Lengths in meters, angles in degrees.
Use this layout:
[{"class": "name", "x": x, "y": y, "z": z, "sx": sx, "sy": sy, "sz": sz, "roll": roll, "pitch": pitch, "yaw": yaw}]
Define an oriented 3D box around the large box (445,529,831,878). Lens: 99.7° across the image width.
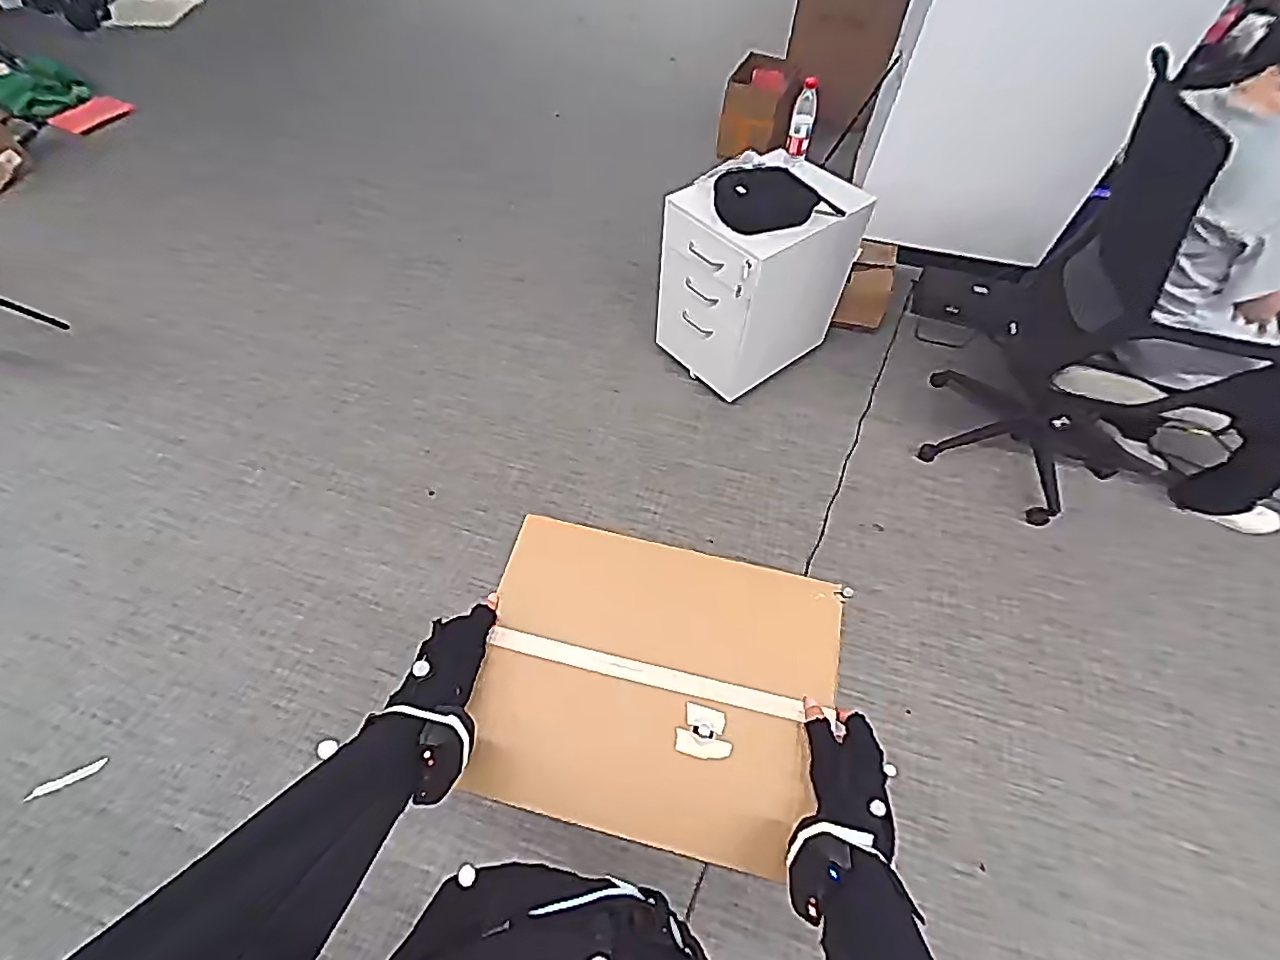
[{"class": "large box", "x": 0.010, "y": 0.303, "z": 0.755, "sx": 0.408, "sy": 0.320, "sz": 0.320, "roll": 12, "pitch": 62, "yaw": 5}]
